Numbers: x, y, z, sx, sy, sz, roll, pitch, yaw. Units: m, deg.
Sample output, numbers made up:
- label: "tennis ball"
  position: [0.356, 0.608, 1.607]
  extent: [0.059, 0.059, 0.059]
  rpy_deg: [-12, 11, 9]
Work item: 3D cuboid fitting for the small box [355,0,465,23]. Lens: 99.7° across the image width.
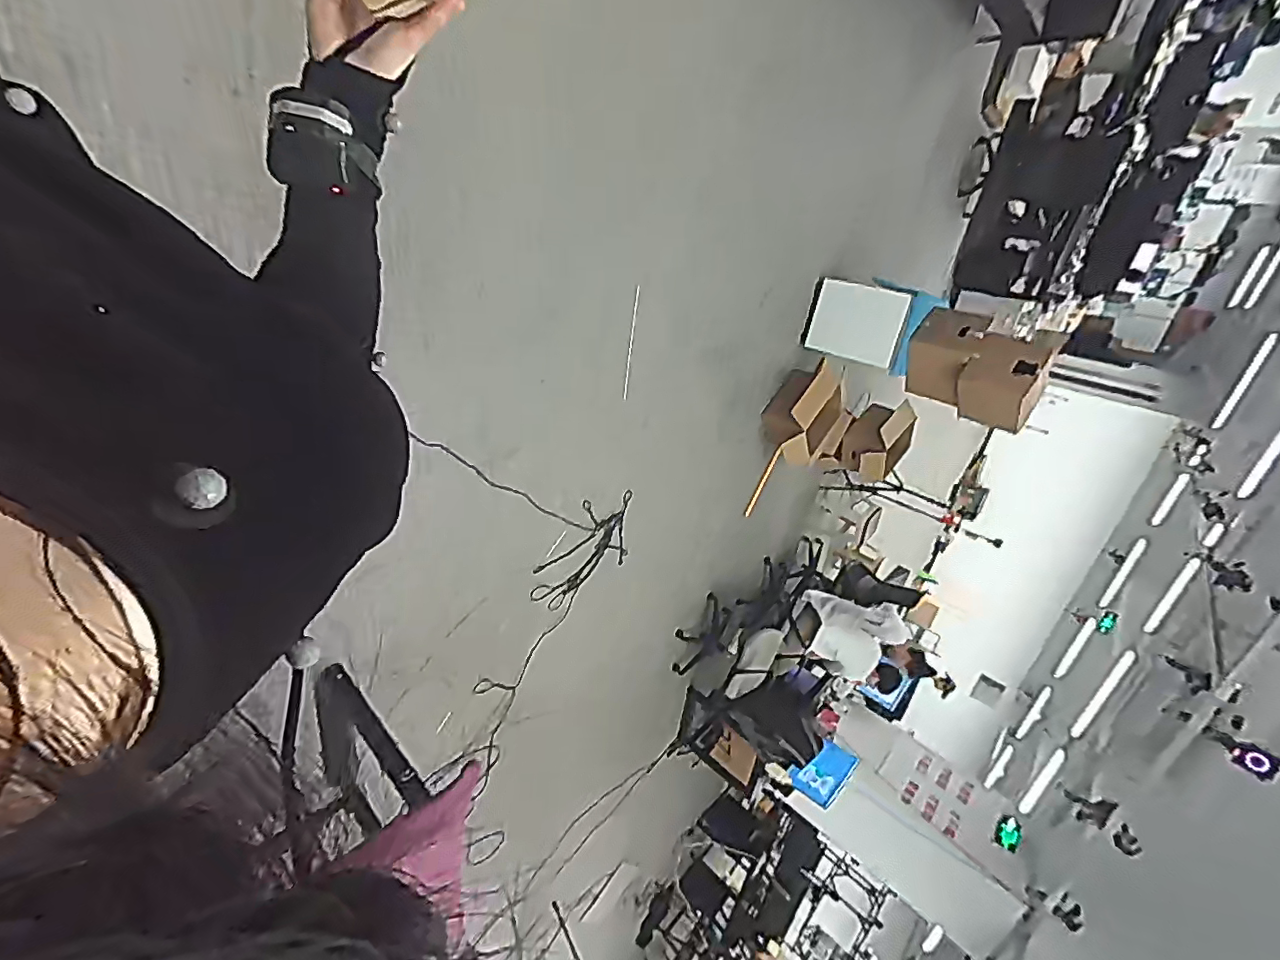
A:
- label: "small box"
  position: [-0.122, -0.408, 0.316]
  extent: [0.179, 0.168, 0.176]
  rpy_deg: [-21, 131, 5]
